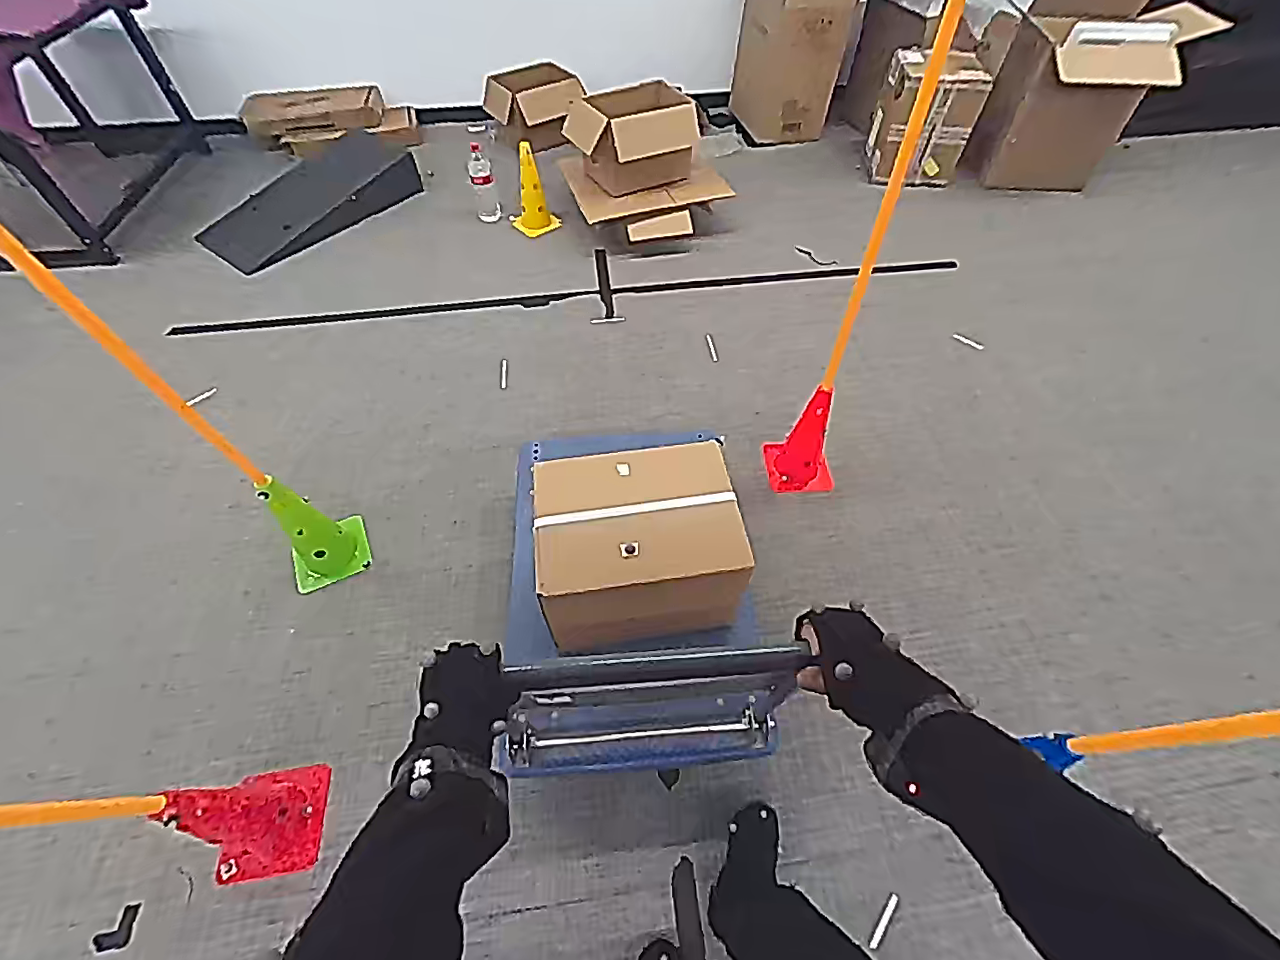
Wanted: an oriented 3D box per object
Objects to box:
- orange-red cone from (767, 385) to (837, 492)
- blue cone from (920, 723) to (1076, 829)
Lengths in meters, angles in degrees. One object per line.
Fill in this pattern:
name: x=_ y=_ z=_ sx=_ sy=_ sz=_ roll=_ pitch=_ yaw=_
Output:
orange-red cone: x=0.519 y=-0.142 z=1.612 sx=0.199 sy=0.360 sz=0.198 roll=0 pitch=54 yaw=-1
blue cone: x=0.759 y=0.572 z=1.100 sx=0.193 sy=0.380 sz=0.192 roll=-9 pitch=53 yaw=-7
